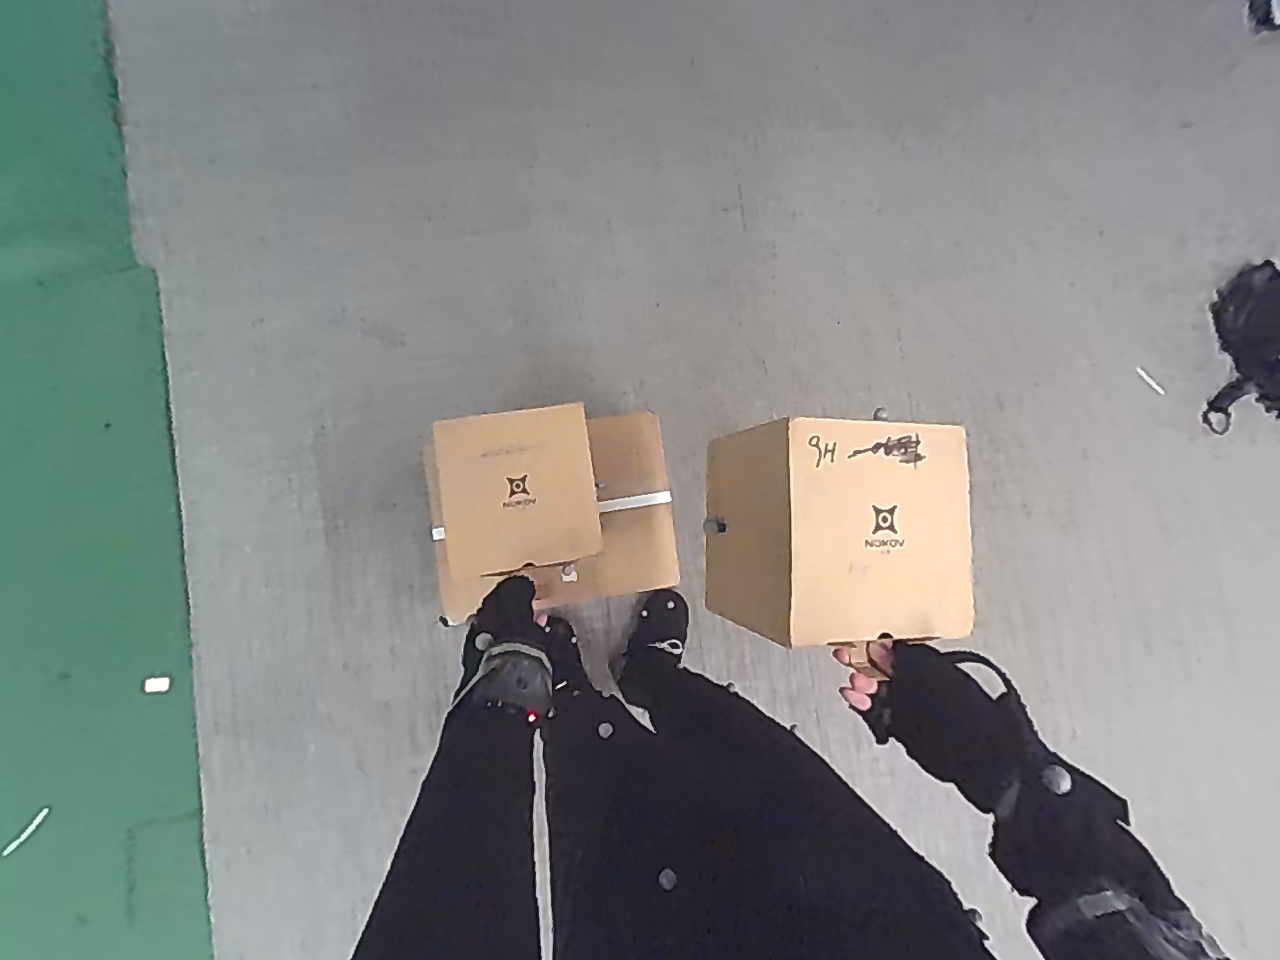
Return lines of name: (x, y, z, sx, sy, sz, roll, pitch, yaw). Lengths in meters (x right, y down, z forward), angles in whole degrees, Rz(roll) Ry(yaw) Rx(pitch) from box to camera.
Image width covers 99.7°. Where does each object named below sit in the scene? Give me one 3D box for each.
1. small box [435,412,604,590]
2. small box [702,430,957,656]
small box: (-0.137, 0.030, 0.668, 0.168, 0.176, 0.179, -9, 83, -6)
small box: (0.164, 0.051, 0.509, 0.168, 0.176, 0.179, 0, 88, -15)
